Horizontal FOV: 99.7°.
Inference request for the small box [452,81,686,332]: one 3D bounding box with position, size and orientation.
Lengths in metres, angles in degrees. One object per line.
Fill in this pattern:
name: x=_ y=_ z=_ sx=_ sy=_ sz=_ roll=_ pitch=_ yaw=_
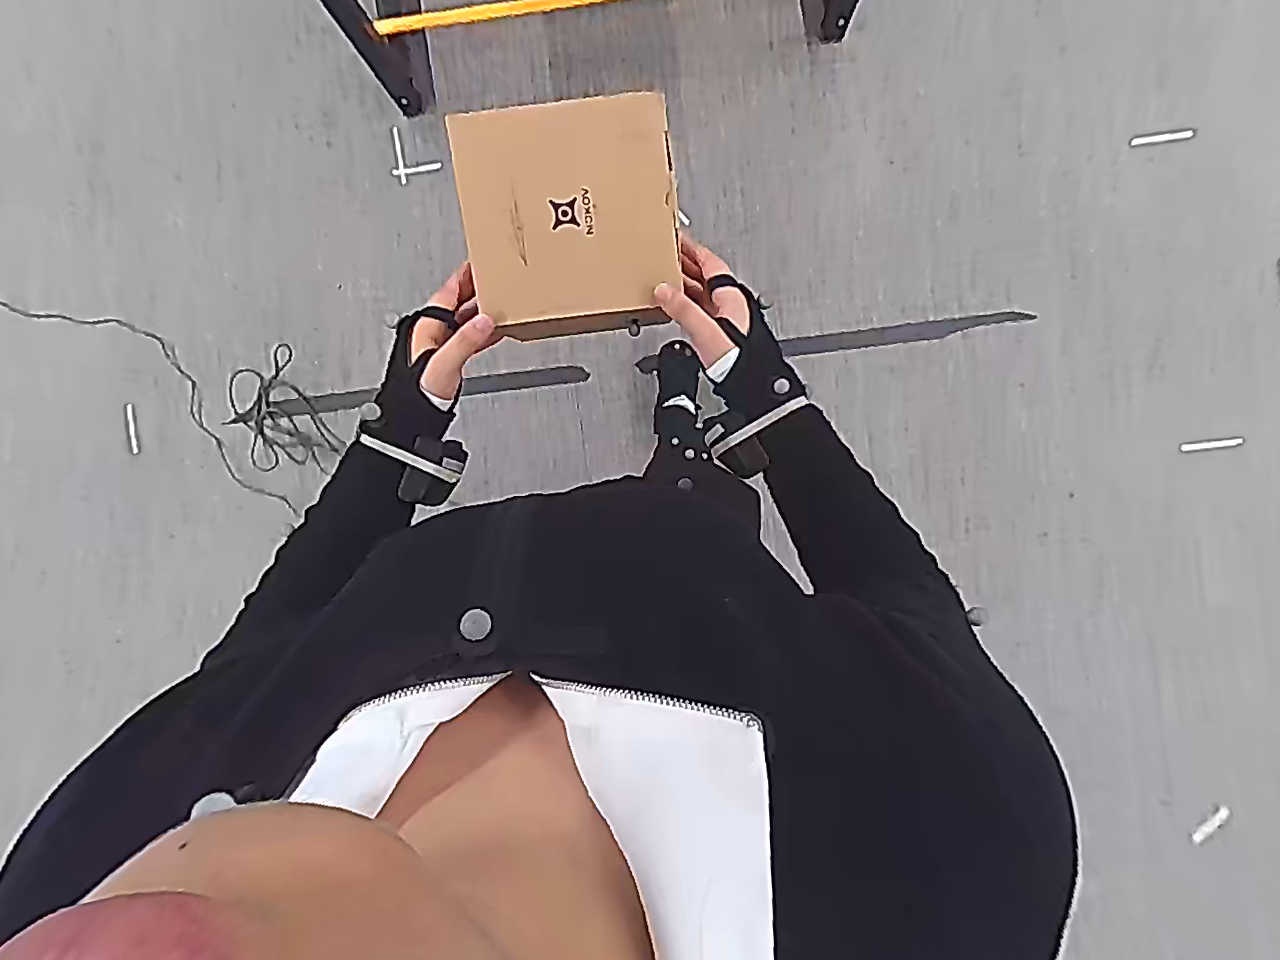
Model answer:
small box: x=-0.058 y=-0.244 z=0.525 sx=0.179 sy=0.176 sz=0.168 roll=-8 pitch=99 yaw=1
